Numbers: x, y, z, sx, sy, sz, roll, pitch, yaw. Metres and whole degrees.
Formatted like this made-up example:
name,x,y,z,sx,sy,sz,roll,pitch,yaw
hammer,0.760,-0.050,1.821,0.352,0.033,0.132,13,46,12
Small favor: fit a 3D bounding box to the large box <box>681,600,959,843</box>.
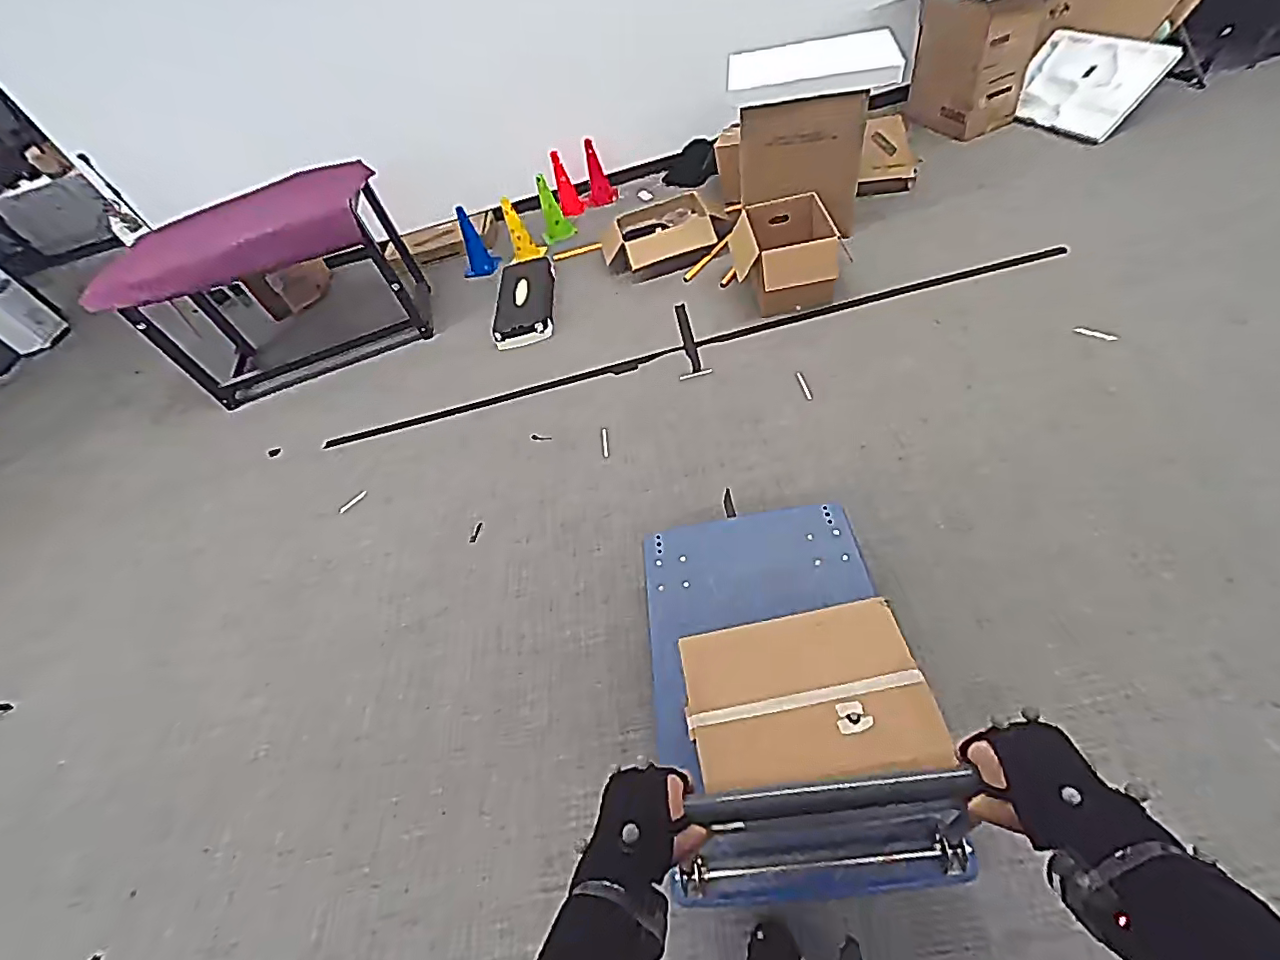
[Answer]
name,x,y,z,sx,sy,sz,roll,pitch,yaw
large box,0.319,0.484,1.069,0.408,0.320,0.320,-13,50,4
